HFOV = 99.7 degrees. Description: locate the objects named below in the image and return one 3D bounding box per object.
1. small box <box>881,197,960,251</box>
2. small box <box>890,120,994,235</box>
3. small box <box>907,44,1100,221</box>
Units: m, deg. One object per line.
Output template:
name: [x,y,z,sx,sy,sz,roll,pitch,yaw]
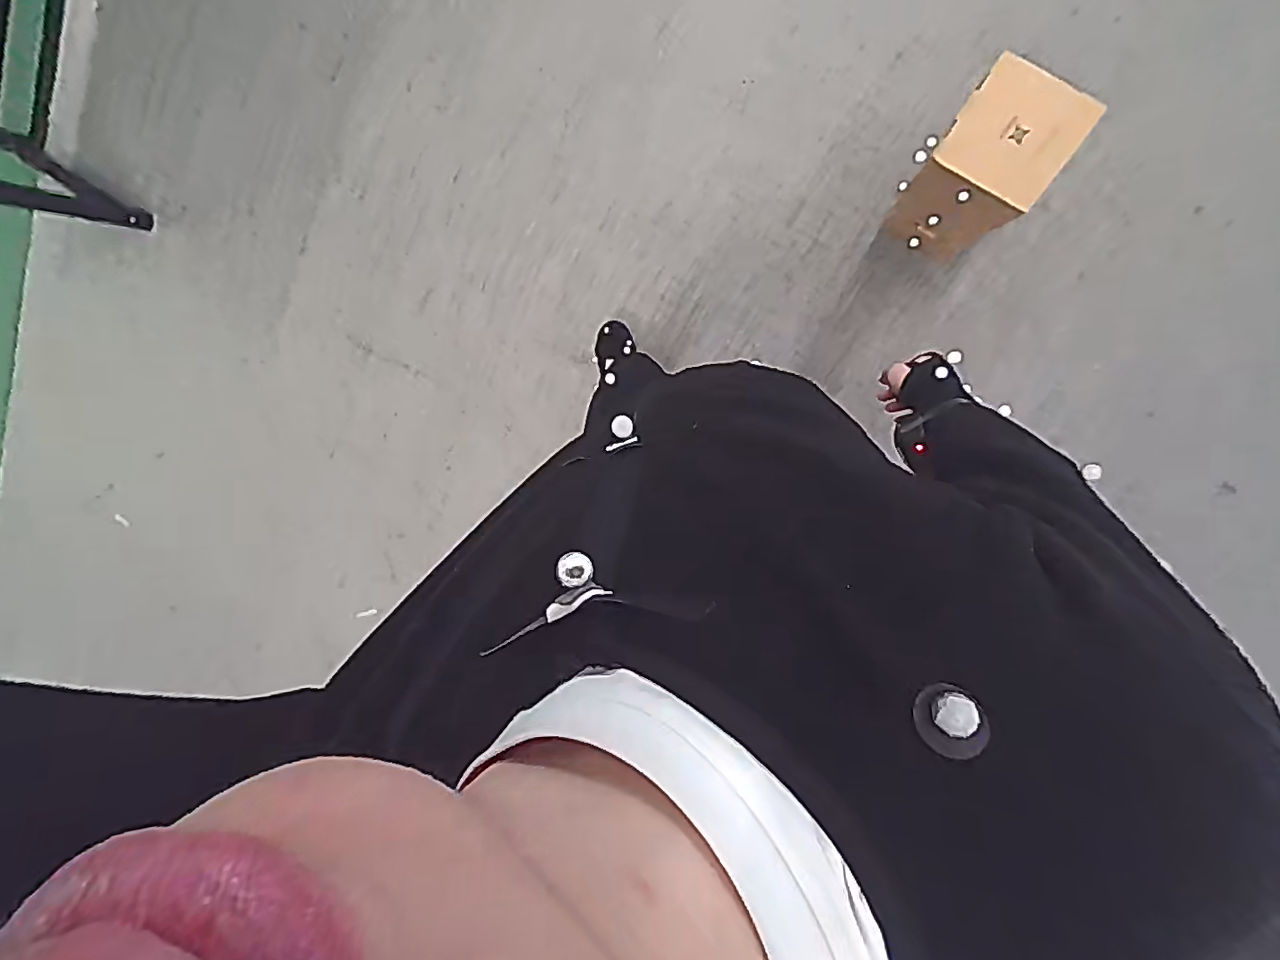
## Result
small box: [0.665,-0.637,1.207,0.168,0.176,0.179,33,109,2]
small box: [0.624,-0.599,1.051,0.179,0.176,0.168,32,108,3]
small box: [0.583,-0.559,0.900,0.179,0.176,0.168,32,109,2]
